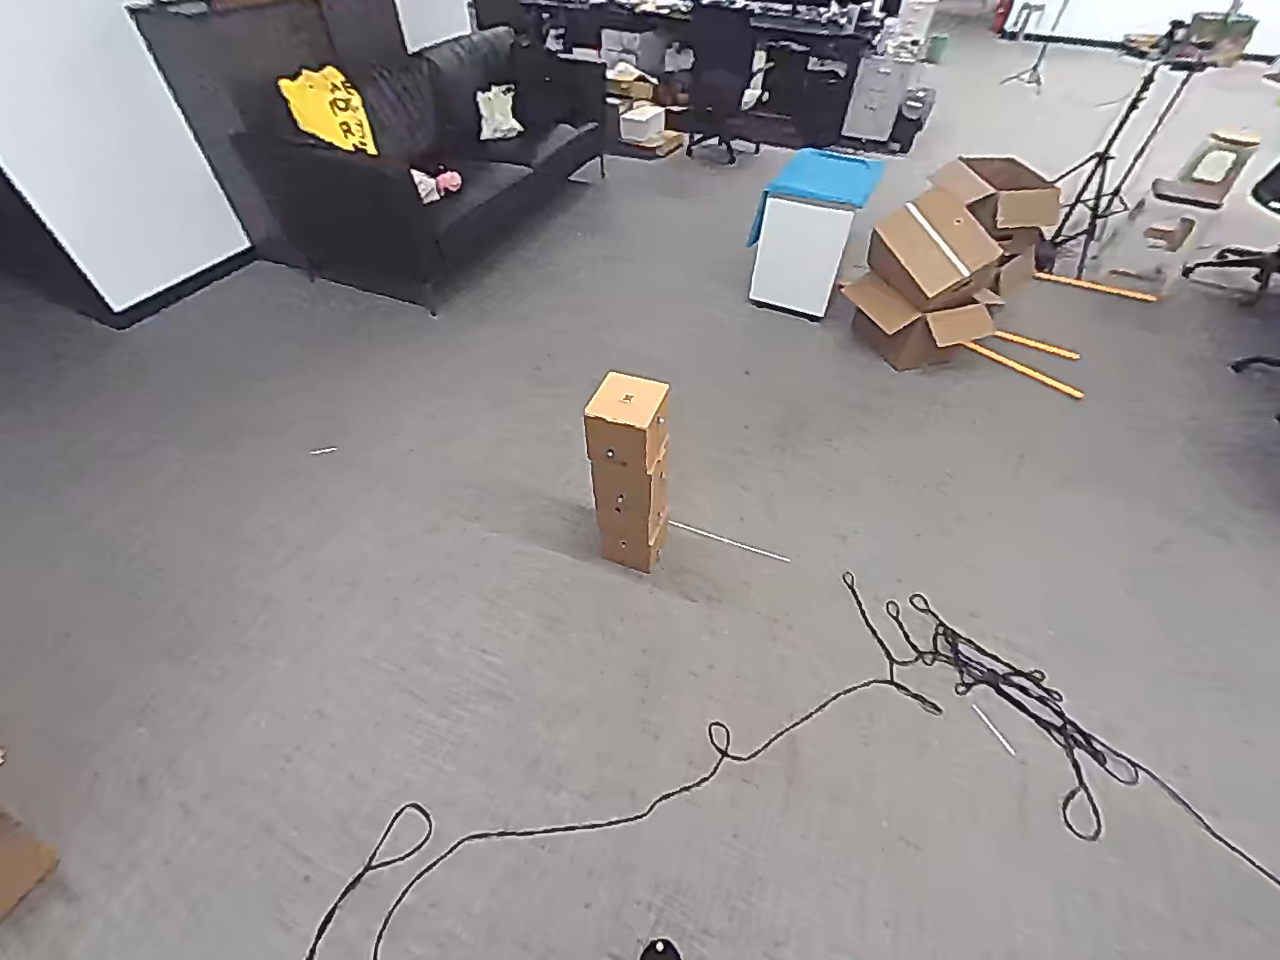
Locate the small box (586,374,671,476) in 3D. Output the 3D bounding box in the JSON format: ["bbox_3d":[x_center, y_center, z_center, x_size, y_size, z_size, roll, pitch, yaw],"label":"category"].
[{"bbox_3d":[-0.027,-0.141,1.395,0.168,0.176,0.179,15,51,14],"label":"small box"}]

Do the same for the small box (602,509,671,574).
[{"bbox_3d":[-0.010,0.181,1.765,0.179,0.176,0.168,17,50,14],"label":"small box"}]

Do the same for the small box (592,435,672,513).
[{"bbox_3d":[-0.020,-0.032,1.516,0.179,0.176,0.168,16,50,13],"label":"small box"}]

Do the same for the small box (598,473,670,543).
[{"bbox_3d":[-0.019,0.067,1.647,0.179,0.176,0.168,17,51,15],"label":"small box"}]
